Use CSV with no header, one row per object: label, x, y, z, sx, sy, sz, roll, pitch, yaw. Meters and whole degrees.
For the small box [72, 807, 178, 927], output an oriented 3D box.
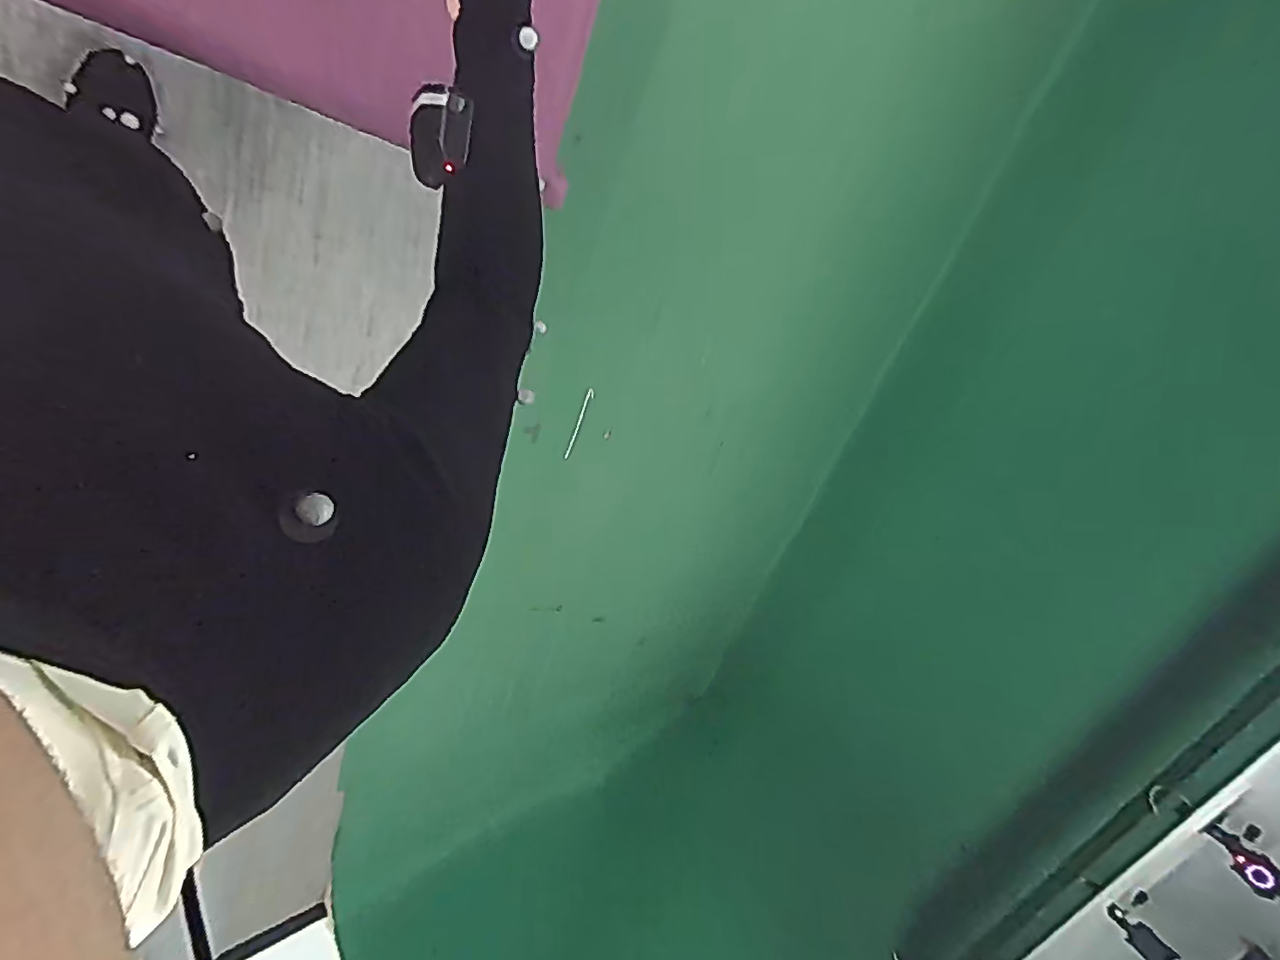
small box,-1.376,1.018,1.443,0.179,0.176,0.168,11,113,-50
